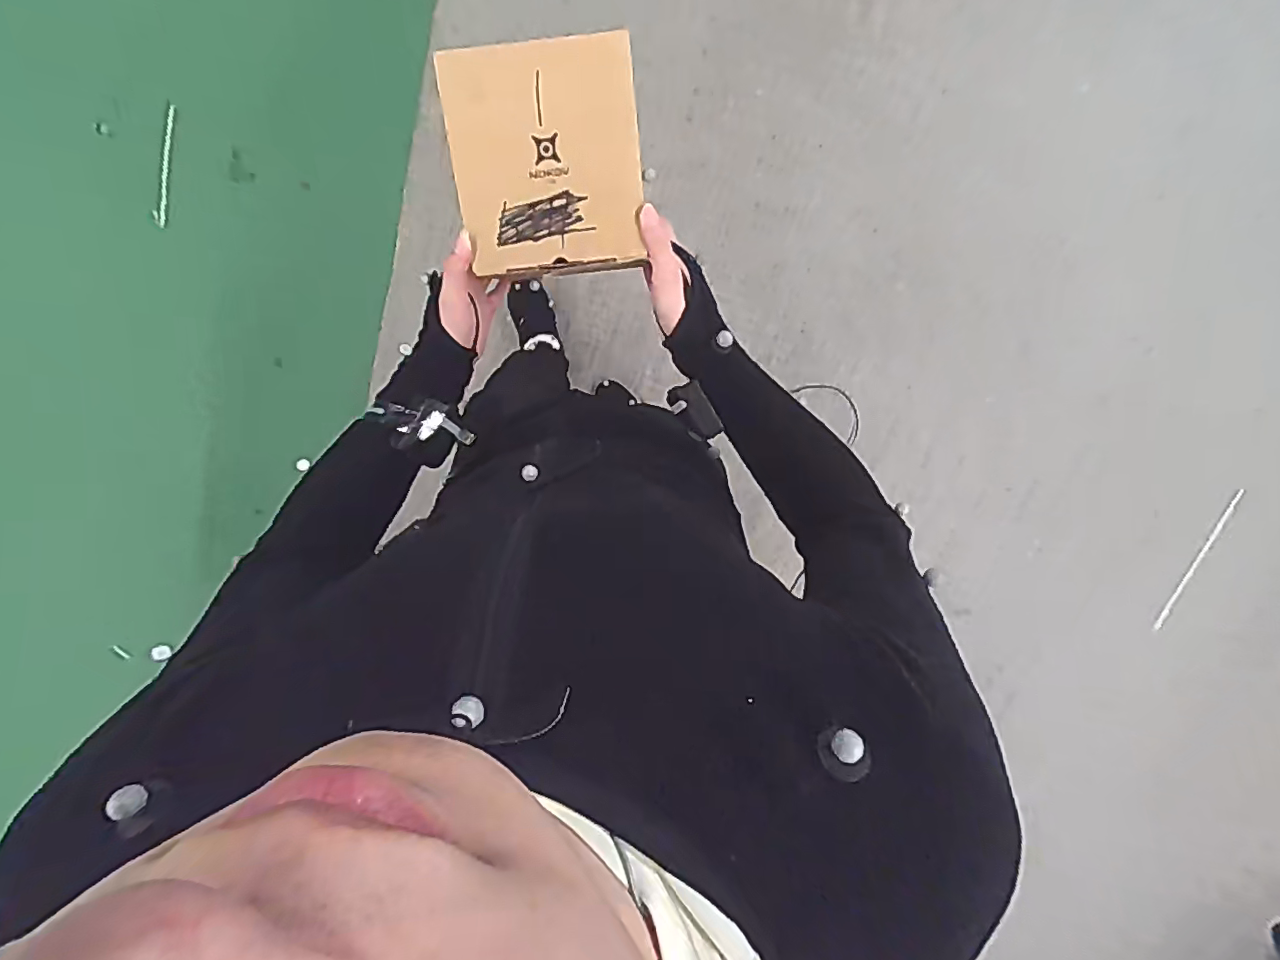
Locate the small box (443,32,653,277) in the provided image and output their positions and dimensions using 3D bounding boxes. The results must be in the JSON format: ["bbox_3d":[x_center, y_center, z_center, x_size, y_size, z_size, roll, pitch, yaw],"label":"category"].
[{"bbox_3d":[-0.075,-0.302,0.541,0.168,0.176,0.179,-5,109,0],"label":"small box"}]

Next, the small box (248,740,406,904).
[{"bbox_3d":[-0.558,0.607,0.979,0.179,0.176,0.168,16,105,-2],"label":"small box"}]
